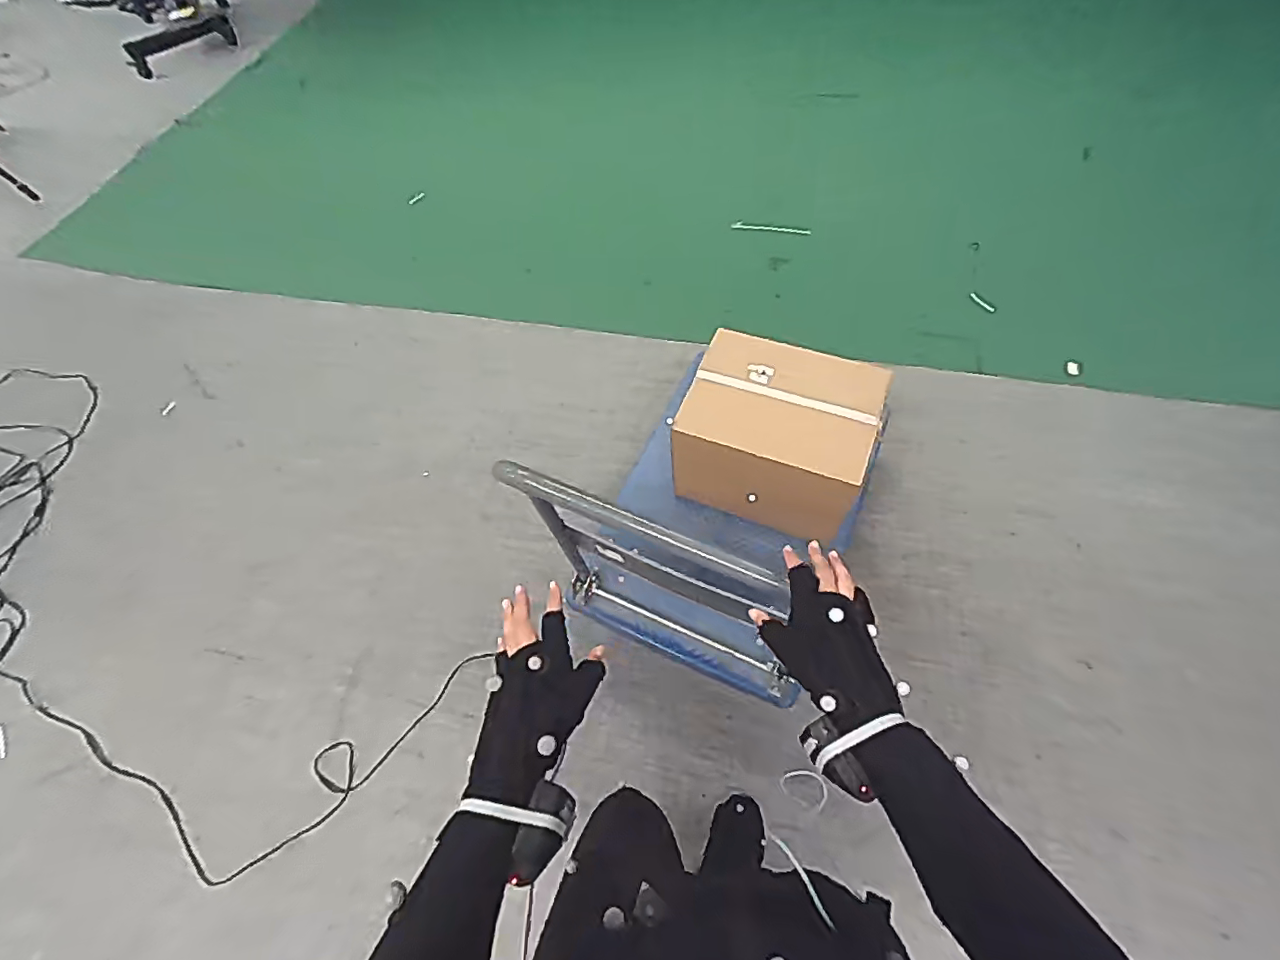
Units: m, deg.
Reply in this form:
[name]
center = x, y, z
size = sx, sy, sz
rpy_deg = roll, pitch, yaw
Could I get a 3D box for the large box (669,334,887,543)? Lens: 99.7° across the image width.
[large box]
center = 0.320, -0.095, 1.301
size = 0.408, 0.320, 0.320
rpy_deg = 19, 63, 17
